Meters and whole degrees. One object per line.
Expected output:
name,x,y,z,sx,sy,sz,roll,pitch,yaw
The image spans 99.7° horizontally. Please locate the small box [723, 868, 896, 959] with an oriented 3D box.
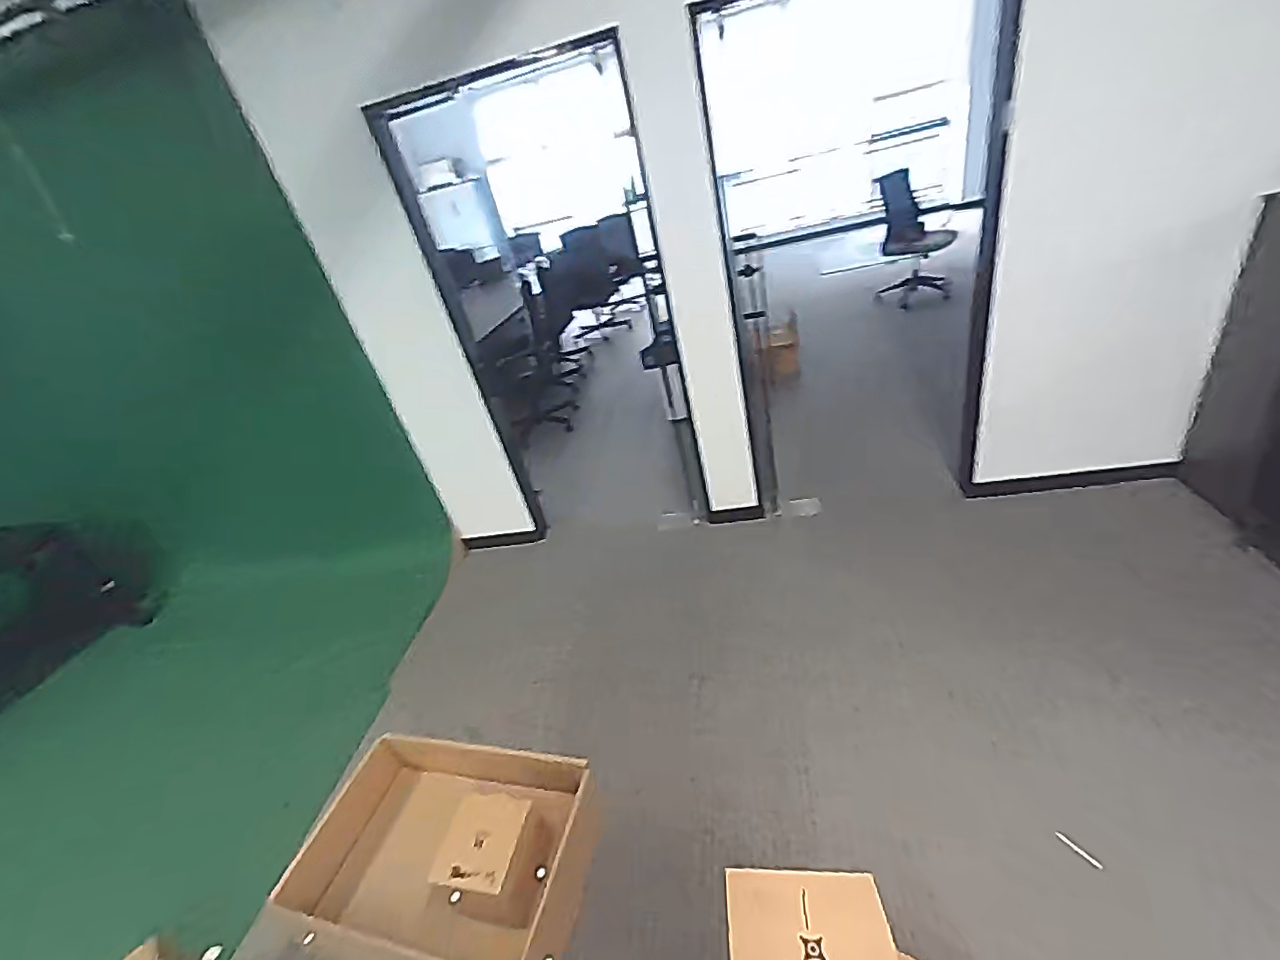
small box,0.175,0.546,0.557,0.168,0.176,0.179,-2,19,5
